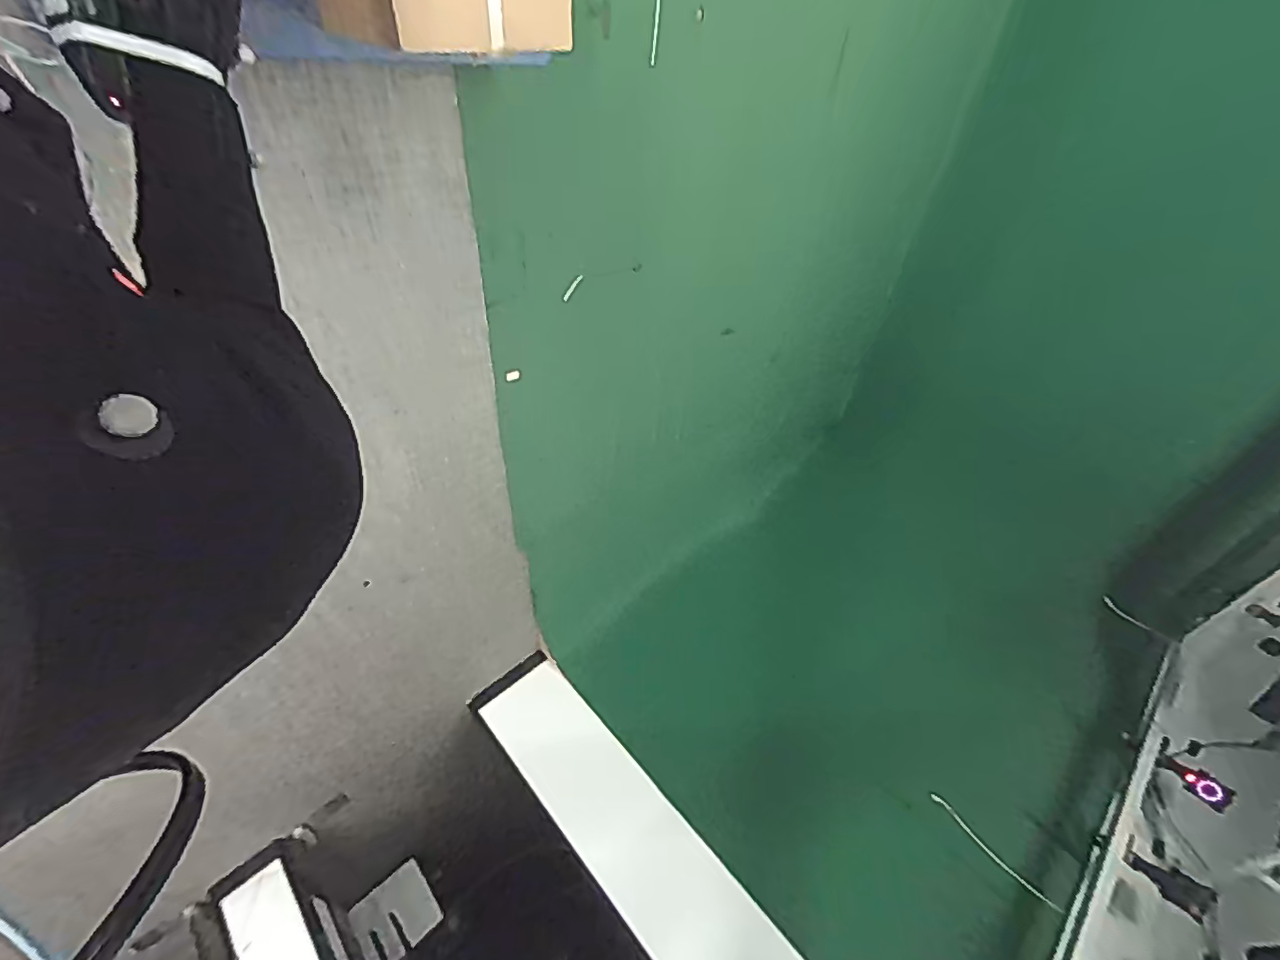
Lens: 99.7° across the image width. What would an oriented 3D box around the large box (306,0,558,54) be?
[{"bbox_3d":[-0.346,-0.904,0.808,0.320,0.320,0.408,-30,141,-32],"label":"large box"}]
